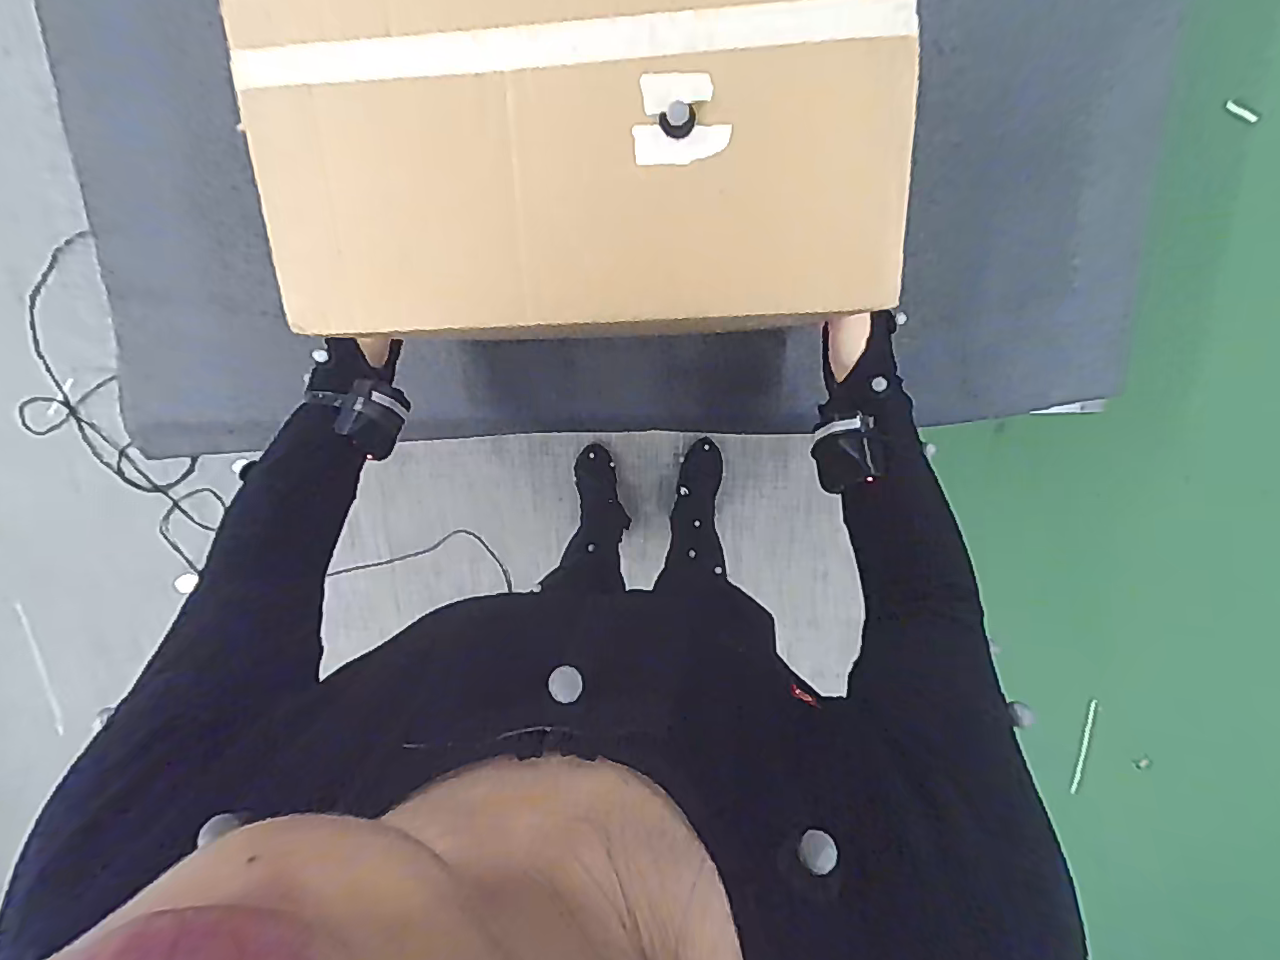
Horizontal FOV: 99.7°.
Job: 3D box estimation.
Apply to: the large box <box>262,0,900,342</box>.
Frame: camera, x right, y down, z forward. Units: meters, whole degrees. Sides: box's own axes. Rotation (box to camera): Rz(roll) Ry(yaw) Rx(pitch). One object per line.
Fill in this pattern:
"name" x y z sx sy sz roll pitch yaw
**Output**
"large box" -0.035 -0.298 0.485 0.408 0.320 0.320 -2 104 3
